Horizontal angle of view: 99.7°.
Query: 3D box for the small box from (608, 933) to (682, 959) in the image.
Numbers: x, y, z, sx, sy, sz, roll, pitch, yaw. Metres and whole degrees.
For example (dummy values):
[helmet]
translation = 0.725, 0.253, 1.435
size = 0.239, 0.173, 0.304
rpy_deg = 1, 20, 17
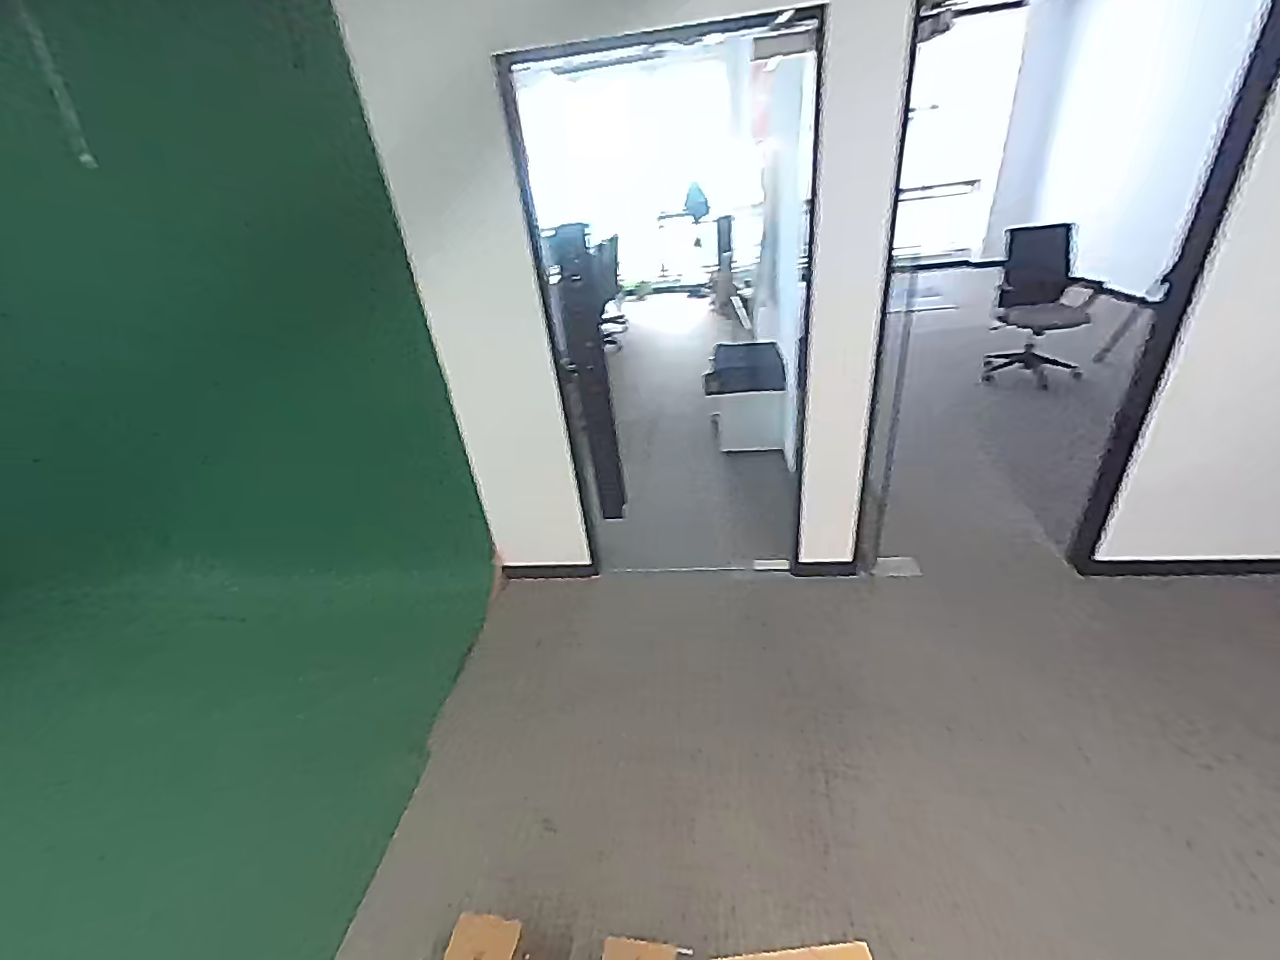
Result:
[small box]
translation = 0.010, 1.172, 1.214
size = 0.168, 0.176, 0.179
rpy_deg = 0, 30, 12
